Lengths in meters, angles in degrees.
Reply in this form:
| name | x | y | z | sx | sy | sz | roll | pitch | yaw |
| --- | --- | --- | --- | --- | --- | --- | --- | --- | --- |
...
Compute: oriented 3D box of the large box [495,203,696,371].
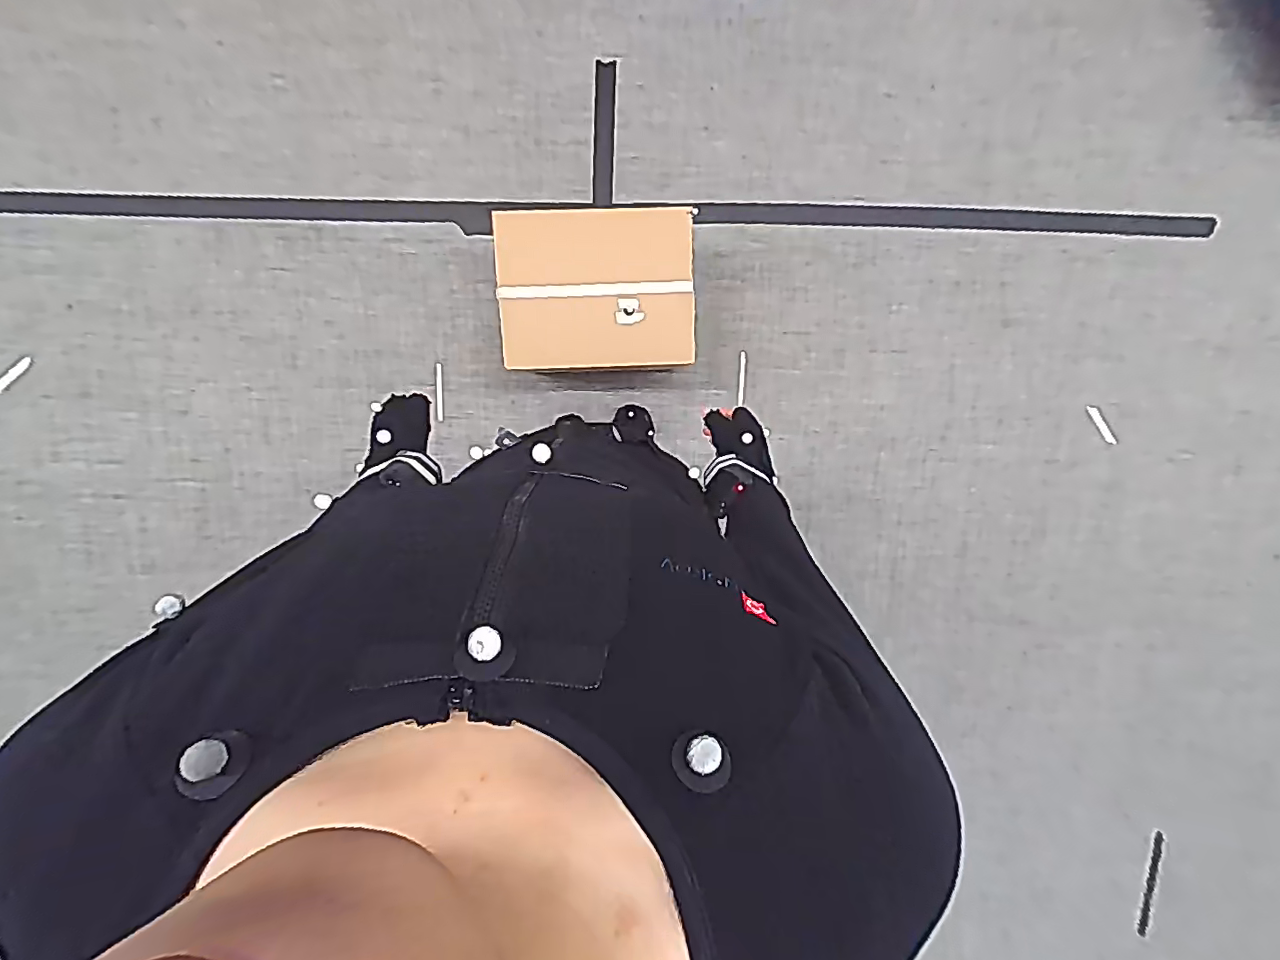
| name | x | y | z | sx | sy | sz | roll | pitch | yaw |
| --- | --- | --- | --- | --- | --- | --- | --- | --- | --- |
| large box | -0.095 | -0.424 | 1.260 | 0.408 | 0.320 | 0.320 | -3 | 101 | -3 |
